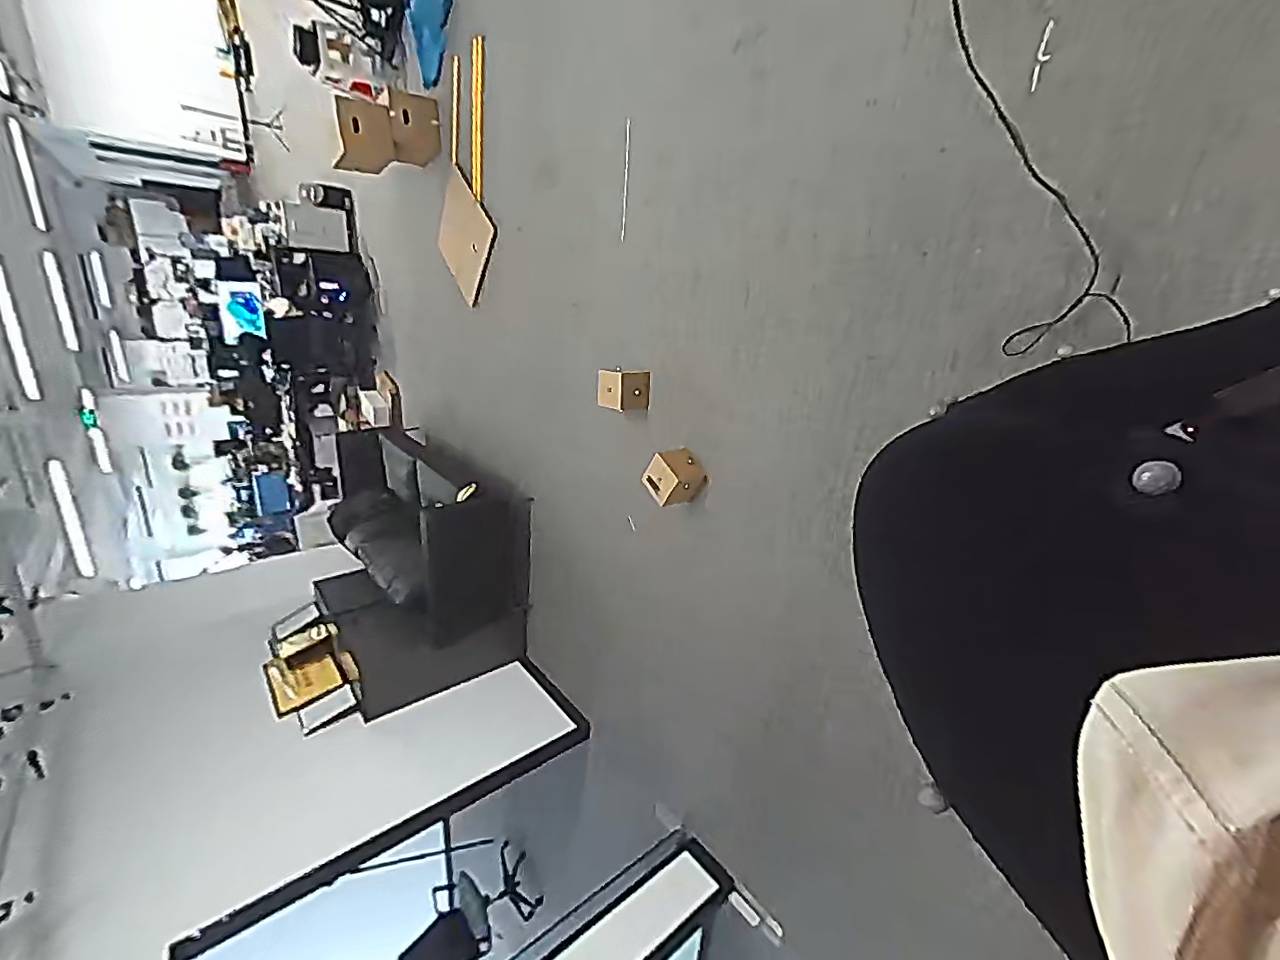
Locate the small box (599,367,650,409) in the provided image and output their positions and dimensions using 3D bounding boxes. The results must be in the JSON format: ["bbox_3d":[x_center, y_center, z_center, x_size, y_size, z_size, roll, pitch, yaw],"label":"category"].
[{"bbox_3d":[-0.071,-0.425,2.472,0.179,0.176,0.168,21,114,47],"label":"small box"}]
